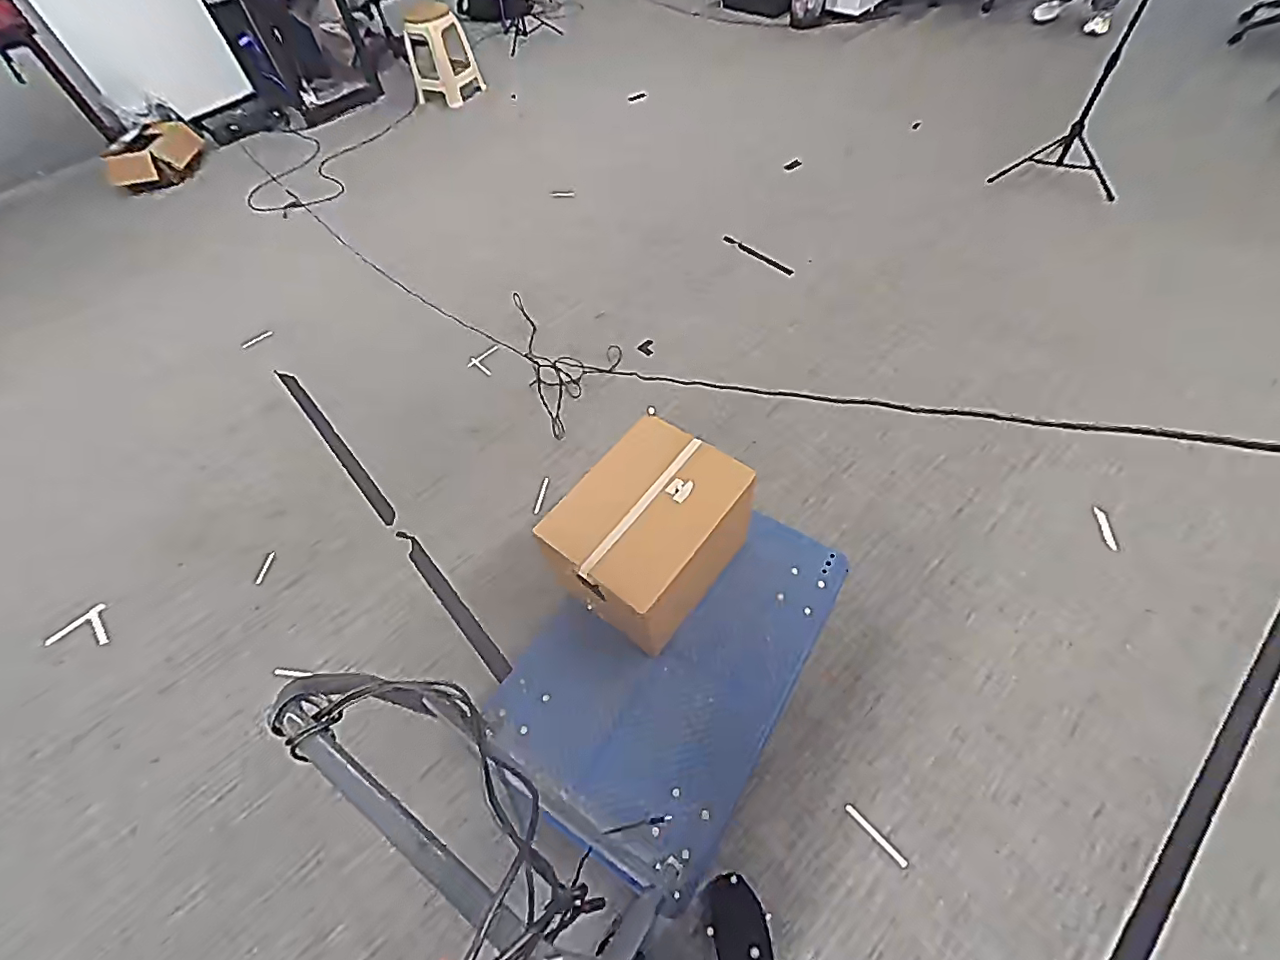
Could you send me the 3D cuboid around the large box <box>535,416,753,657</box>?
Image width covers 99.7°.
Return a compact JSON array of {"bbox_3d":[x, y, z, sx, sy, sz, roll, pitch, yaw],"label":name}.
[{"bbox_3d":[0.024,0.134,1.284,0.320,0.320,0.408,32,65,23],"label":"large box"}]
